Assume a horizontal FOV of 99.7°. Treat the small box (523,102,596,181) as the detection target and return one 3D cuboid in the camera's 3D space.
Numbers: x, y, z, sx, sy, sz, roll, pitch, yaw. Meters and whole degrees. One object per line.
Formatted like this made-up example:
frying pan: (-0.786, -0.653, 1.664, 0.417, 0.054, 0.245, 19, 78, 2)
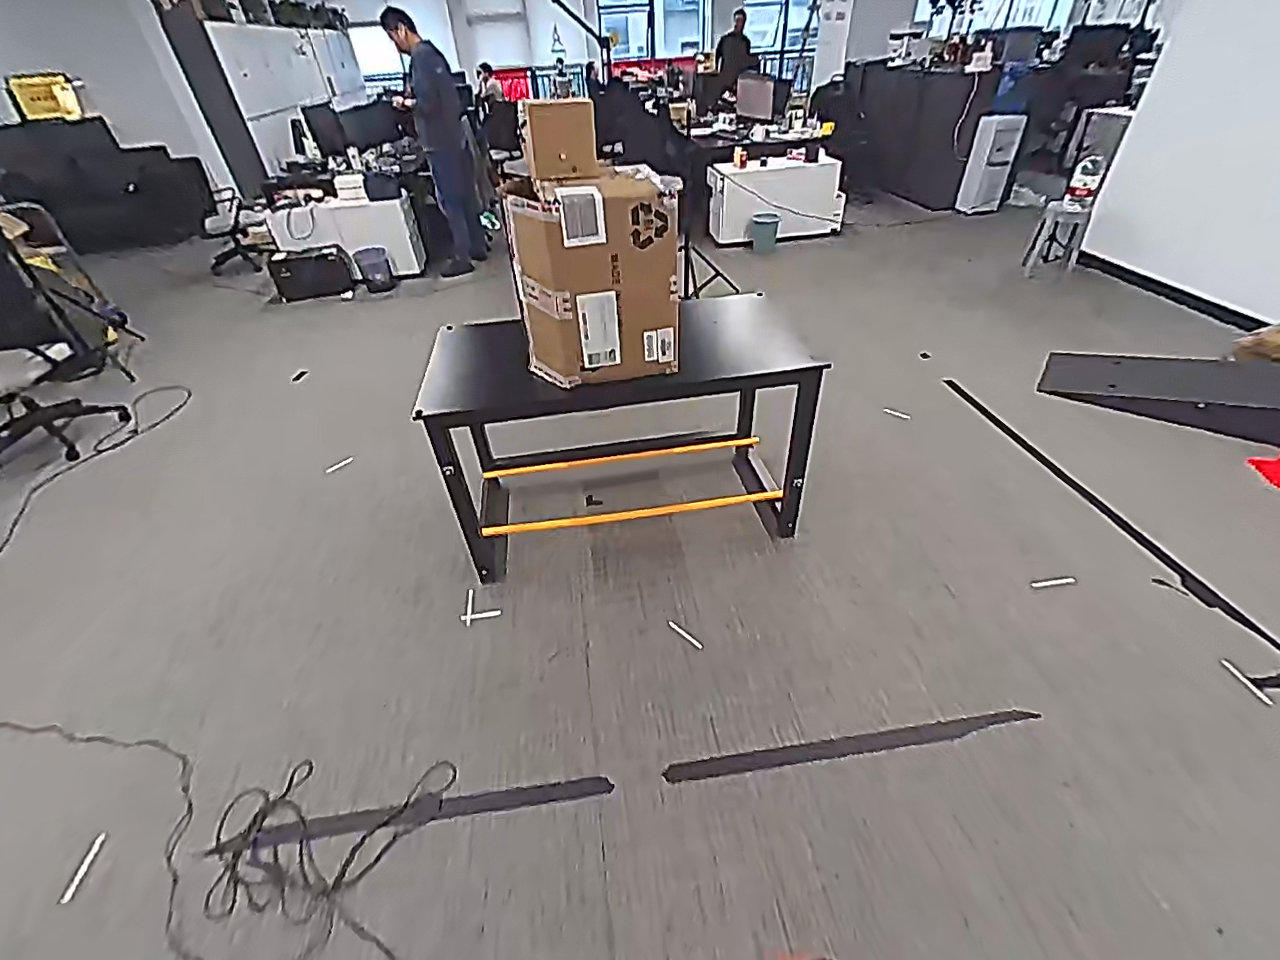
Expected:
small box: (-0.216, -0.906, 1.447, 0.168, 0.176, 0.179, -10, 38, -10)
